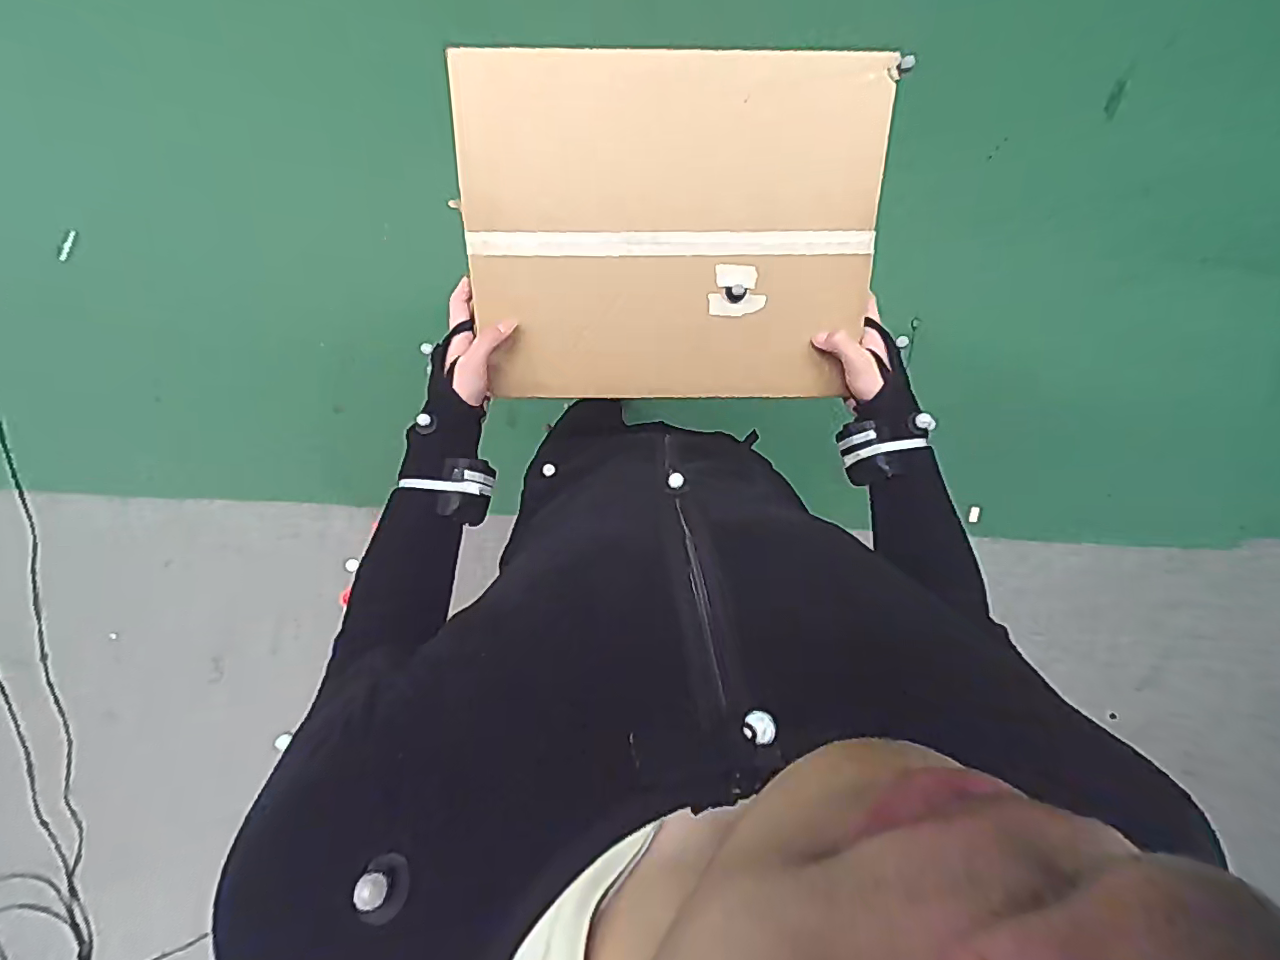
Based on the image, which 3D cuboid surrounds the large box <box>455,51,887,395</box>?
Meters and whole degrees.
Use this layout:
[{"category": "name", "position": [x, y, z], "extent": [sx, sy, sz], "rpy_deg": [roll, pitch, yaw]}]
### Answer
[{"category": "large box", "position": [0.027, -0.297, 0.683], "extent": [0.408, 0.320, 0.320], "rpy_deg": [-1, 112, -2]}]
